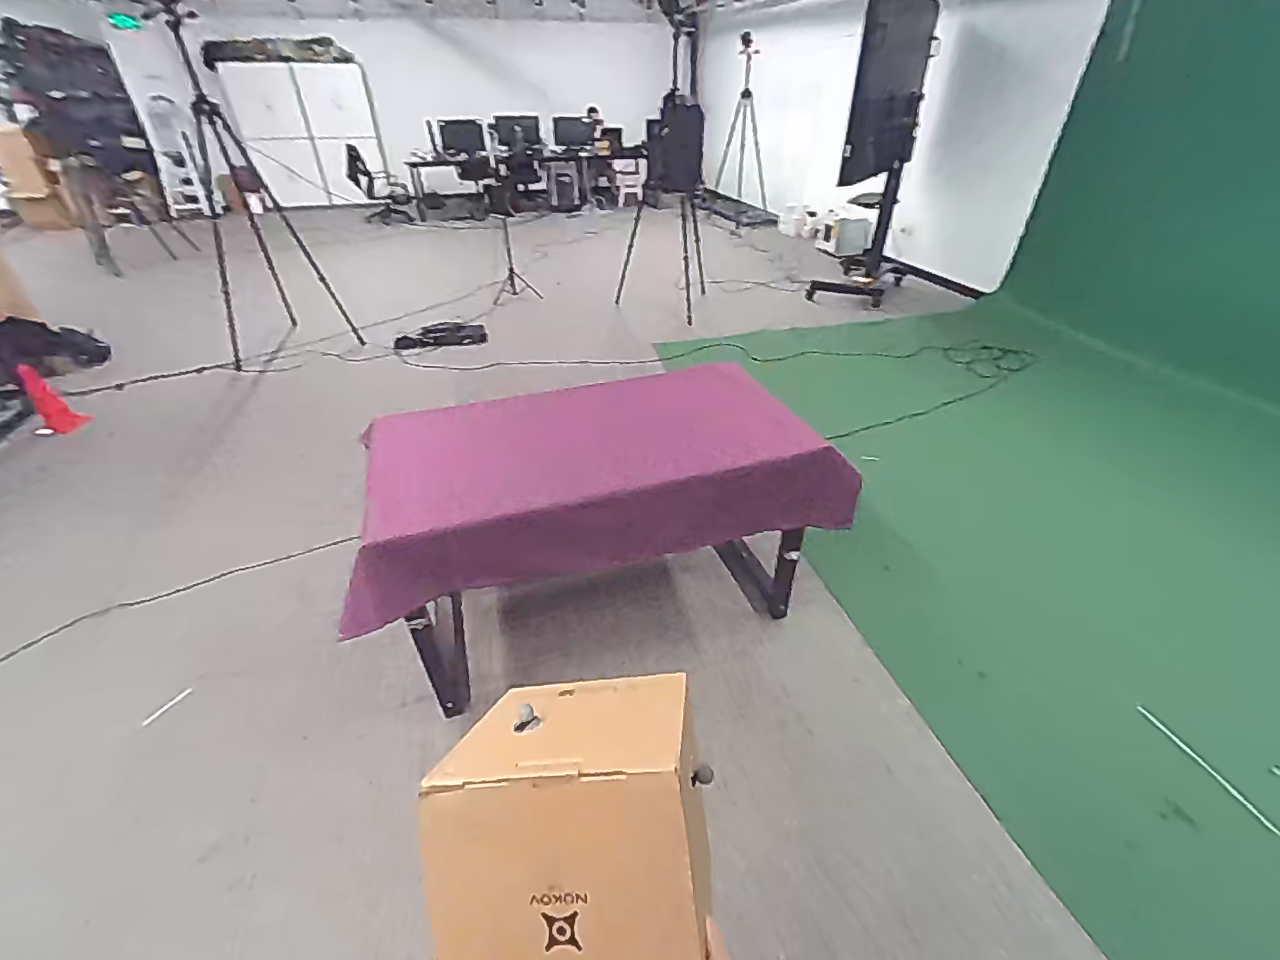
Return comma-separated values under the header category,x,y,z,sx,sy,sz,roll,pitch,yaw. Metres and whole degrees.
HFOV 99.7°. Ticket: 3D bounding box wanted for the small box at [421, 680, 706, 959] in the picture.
category,x,y,z,sx,sy,sz,roll,pitch,yaw
small box,-0.041,0.263,0.410,0.168,0.179,0.176,-7,-1,7
